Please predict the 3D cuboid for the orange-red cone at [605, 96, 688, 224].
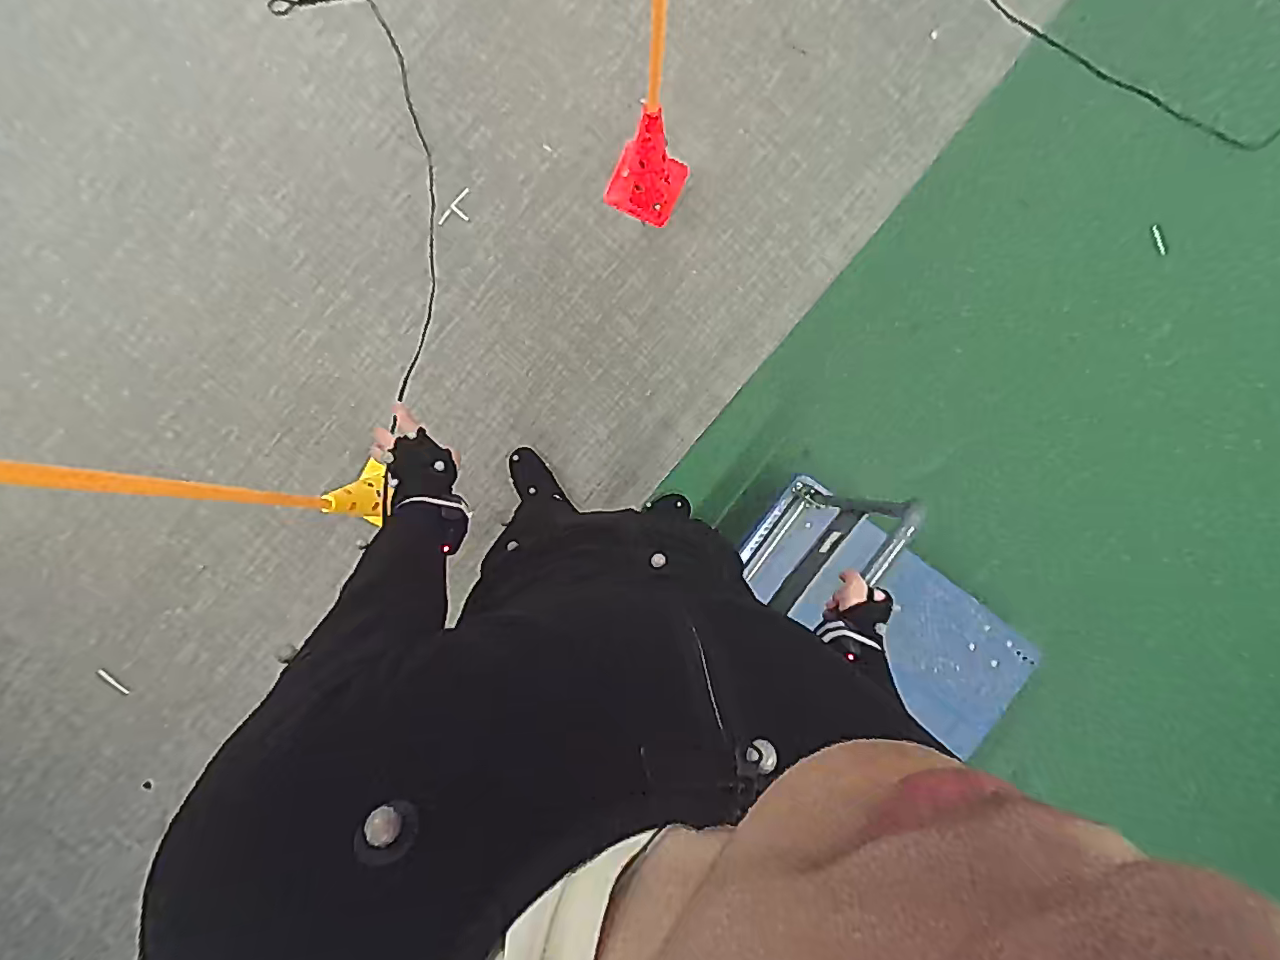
[{"bbox_3d":[0.027,-0.865,1.405,0.198,0.360,0.199,26,90,-3],"label":"orange-red cone"}]
